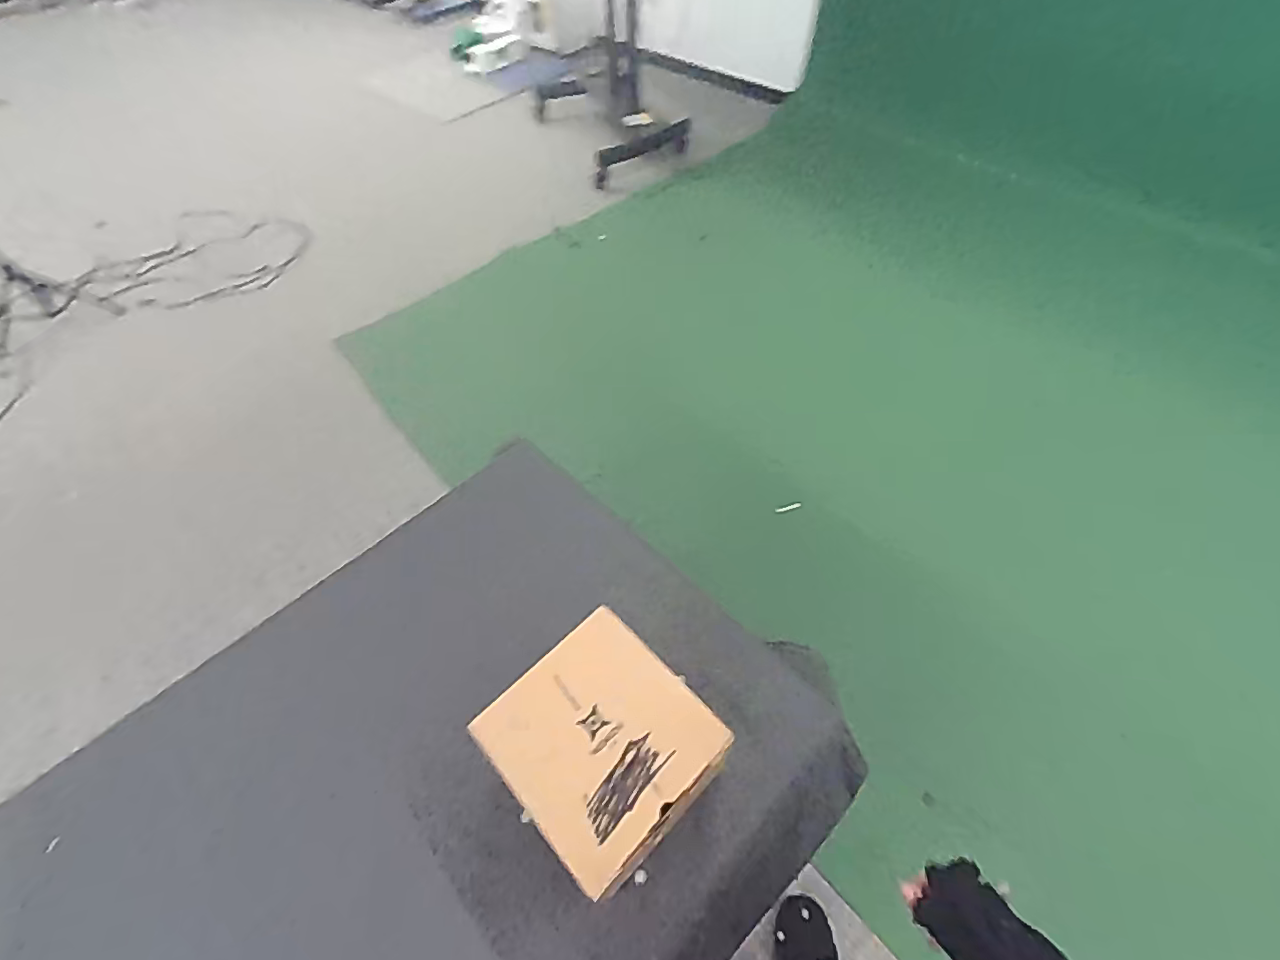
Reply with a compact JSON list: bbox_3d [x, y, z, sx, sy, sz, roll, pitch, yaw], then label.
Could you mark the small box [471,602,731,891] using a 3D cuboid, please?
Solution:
[{"bbox_3d":[-0.031,0.262,0.541,0.168,0.176,0.179,-39,60,-22],"label":"small box"}]
